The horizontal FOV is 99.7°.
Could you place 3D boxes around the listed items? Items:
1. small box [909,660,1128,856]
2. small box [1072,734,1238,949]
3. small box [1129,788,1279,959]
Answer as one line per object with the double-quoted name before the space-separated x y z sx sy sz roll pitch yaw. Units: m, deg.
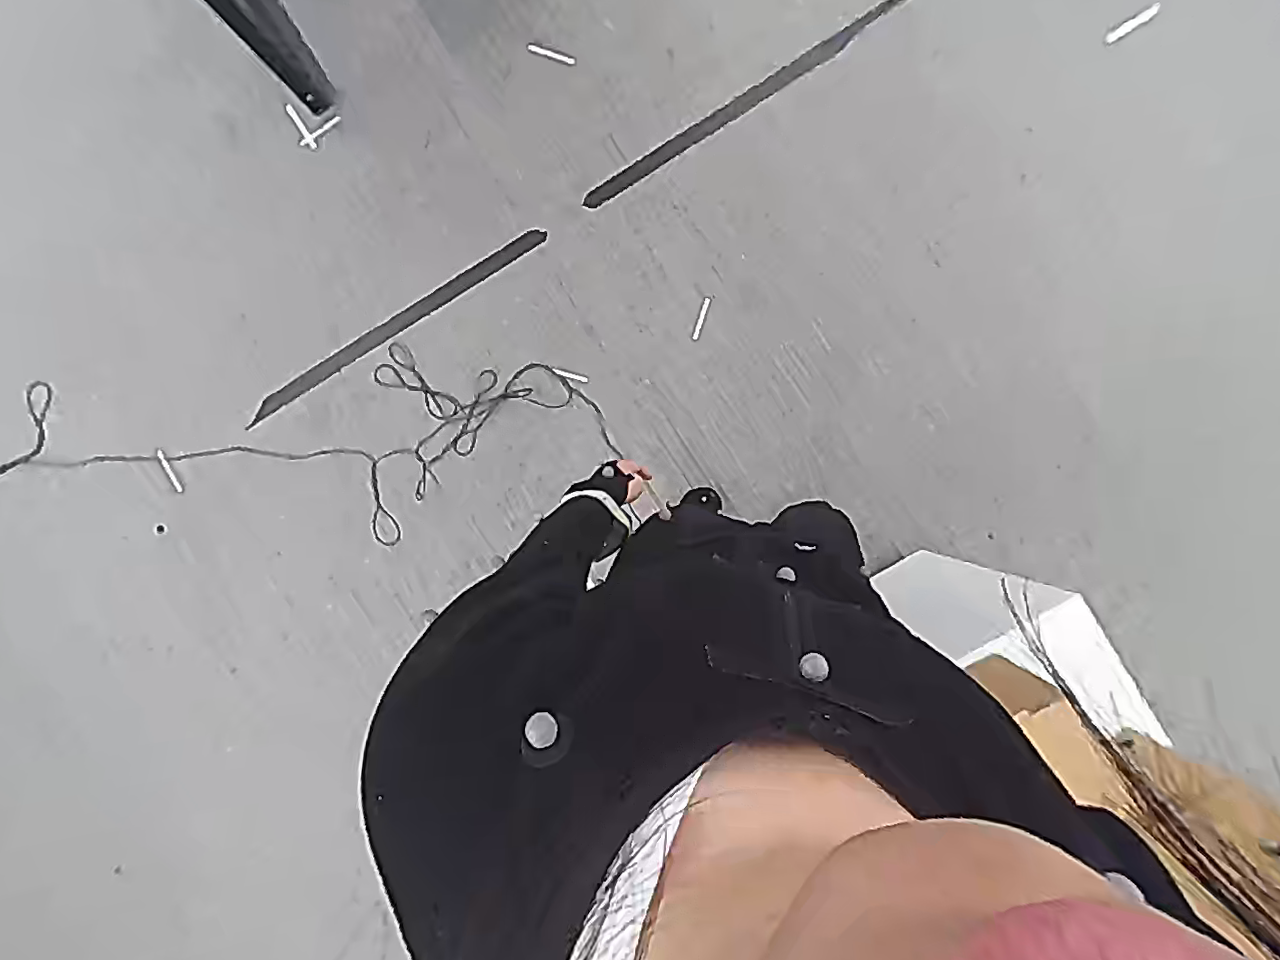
"small box" 0.535 0.387 0.794 0.168 0.176 0.179 -28 88 3
"small box" 0.740 0.499 0.782 0.168 0.176 0.179 -29 88 4
"small box" 0.736 0.493 0.620 0.168 0.176 0.179 -32 88 4
